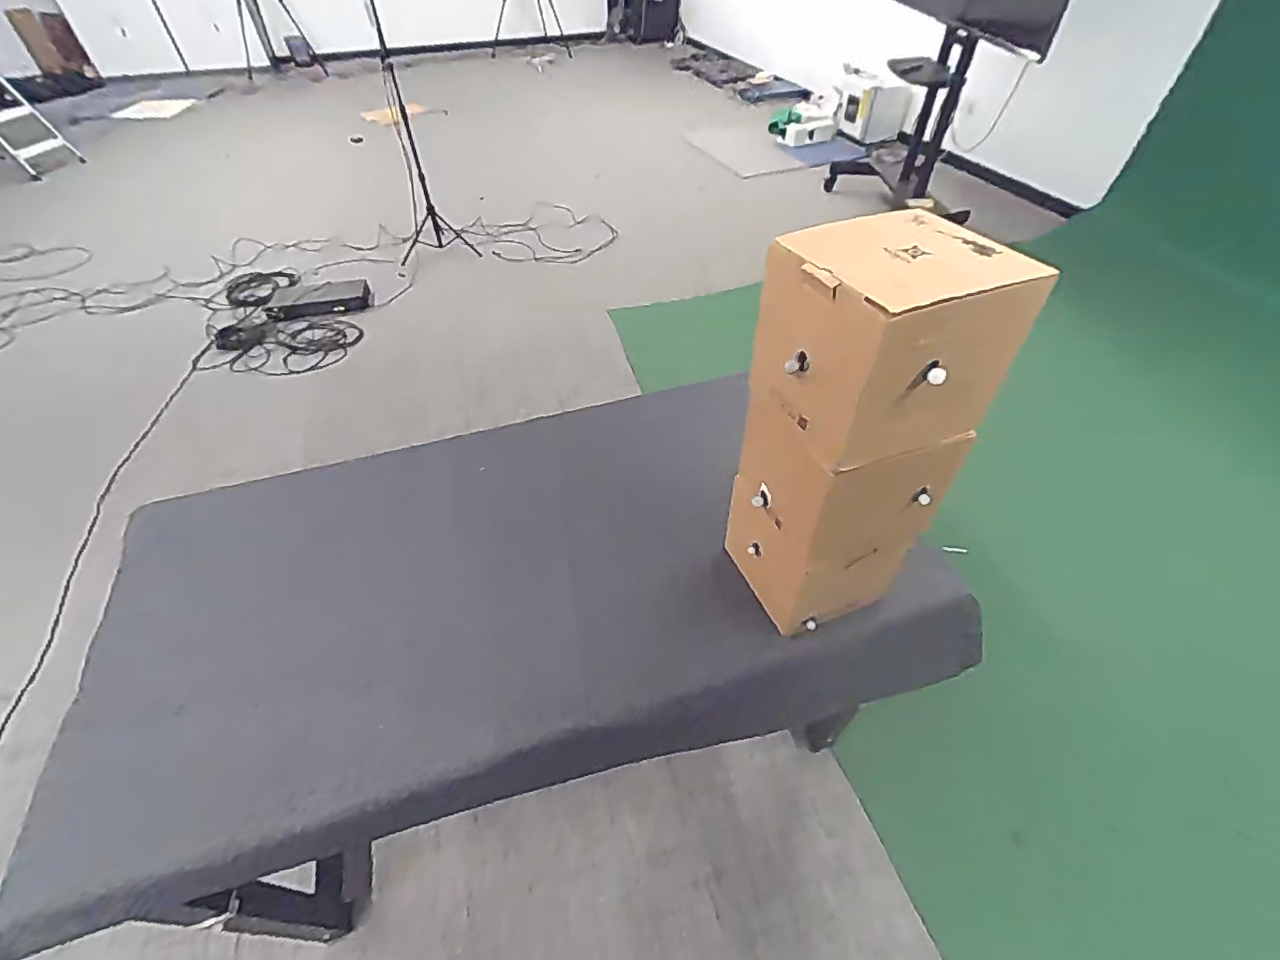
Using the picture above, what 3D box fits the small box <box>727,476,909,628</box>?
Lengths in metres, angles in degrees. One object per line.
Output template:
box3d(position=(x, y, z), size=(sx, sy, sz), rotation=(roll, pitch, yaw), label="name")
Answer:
box3d(position=(0.240, 0.089, 0.778), size=(0.168, 0.176, 0.179), rotation=(-17, 47, -14), label="small box")

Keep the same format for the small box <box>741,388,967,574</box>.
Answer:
box3d(position=(0.239, -0.016, 0.656), size=(0.179, 0.176, 0.168), rotation=(-17, 46, -12), label="small box")

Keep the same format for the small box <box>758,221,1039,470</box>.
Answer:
box3d(position=(0.232, -0.133, 0.542), size=(0.179, 0.176, 0.168), rotation=(-17, 47, -14), label="small box")
